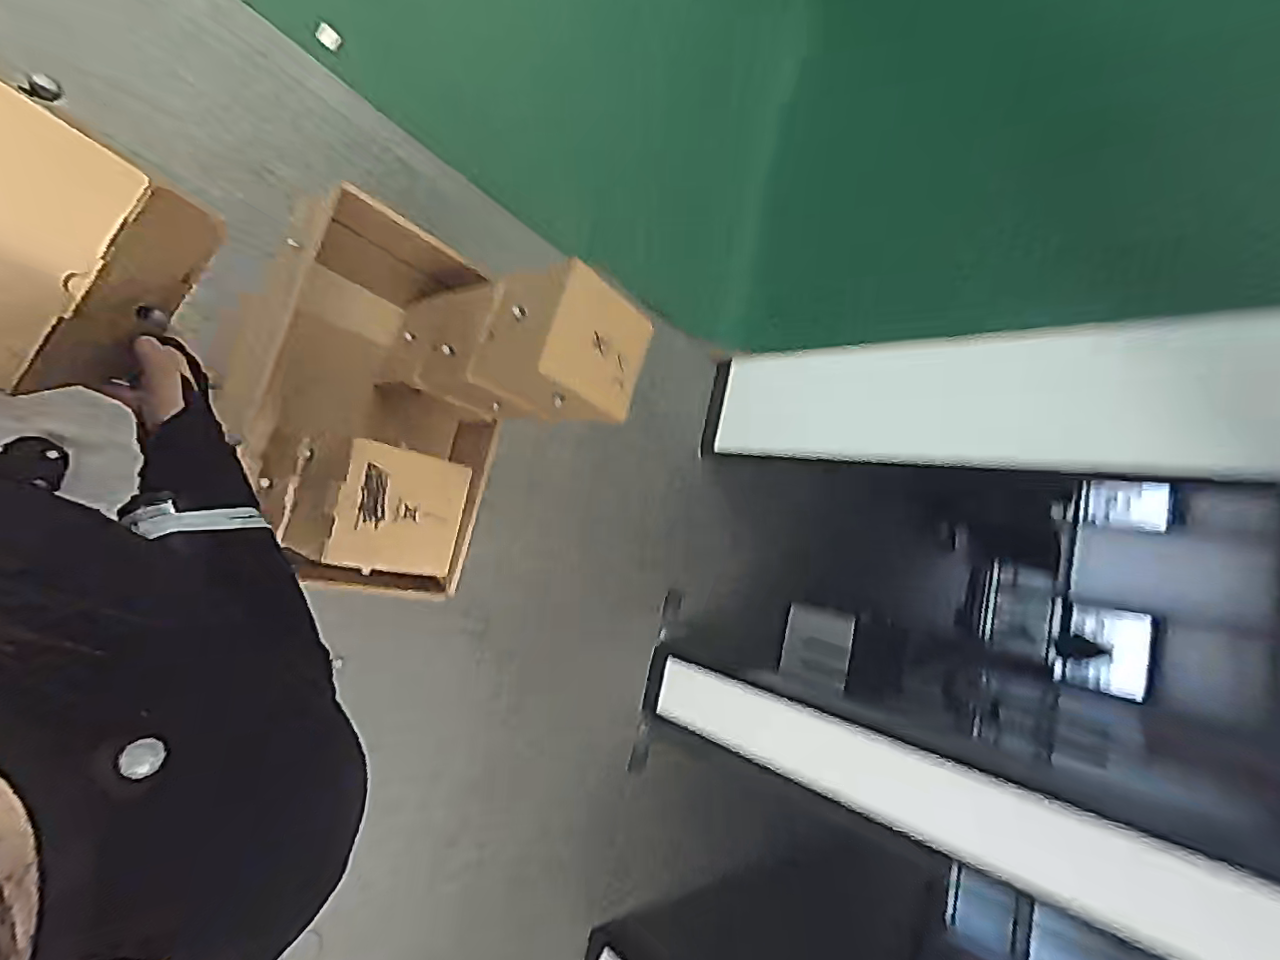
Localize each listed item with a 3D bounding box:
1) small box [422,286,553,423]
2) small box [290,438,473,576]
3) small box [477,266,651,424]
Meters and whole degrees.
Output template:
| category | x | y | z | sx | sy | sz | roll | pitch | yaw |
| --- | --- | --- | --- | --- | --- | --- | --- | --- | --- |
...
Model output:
| category | x | y | z | sx | sy | sz | roll | pitch | yaw |
| --- | --- | --- | --- | --- | --- | --- | --- | --- | --- |
| small box | -0.244 | -0.205 | 0.936 | 0.179 | 0.176 | 0.168 | 27 | 76 | -47 |
| small box | -0.385 | 0.039 | 0.803 | 0.179 | 0.176 | 0.168 | 20 | 80 | -48 |
| small box | -0.118 | -0.195 | 0.831 | 0.179 | 0.176 | 0.168 | 29 | 75 | -46 |
